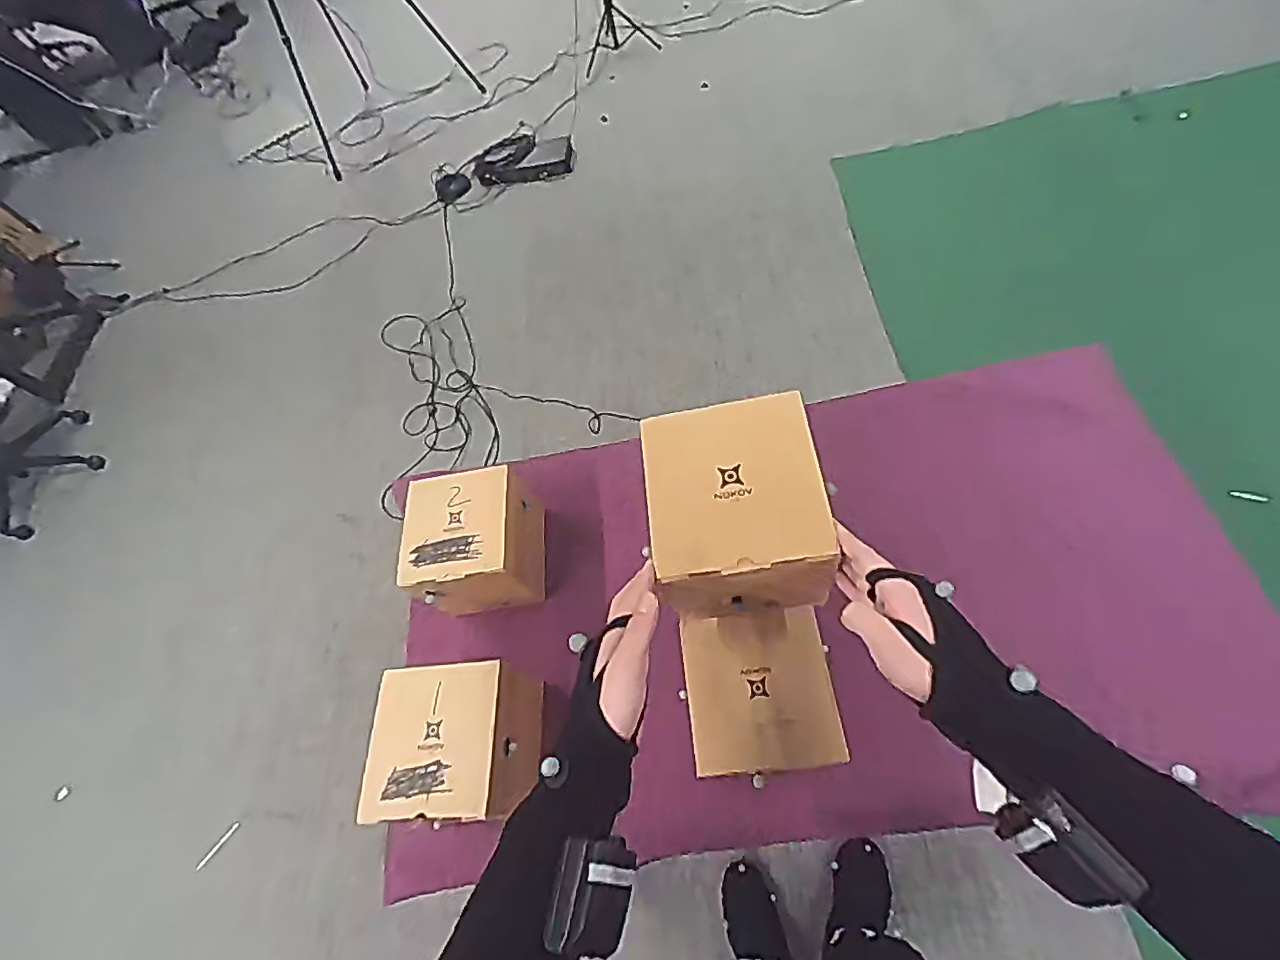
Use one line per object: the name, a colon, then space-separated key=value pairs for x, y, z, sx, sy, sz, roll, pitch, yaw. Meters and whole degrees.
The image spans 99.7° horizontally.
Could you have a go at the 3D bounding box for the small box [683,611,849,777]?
small box: x=0.152 y=0.275 z=0.690 sx=0.168 sy=0.176 sz=0.179 roll=-10 pitch=60 yaw=8

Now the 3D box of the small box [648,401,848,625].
small box: x=0.107 y=0.044 z=0.576 sx=0.168 sy=0.176 sz=0.179 roll=-9 pitch=64 yaw=8

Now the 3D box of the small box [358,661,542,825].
small box: x=-0.239 y=0.354 z=0.729 sx=0.168 sy=0.176 sz=0.179 roll=-7 pitch=60 yaw=8
